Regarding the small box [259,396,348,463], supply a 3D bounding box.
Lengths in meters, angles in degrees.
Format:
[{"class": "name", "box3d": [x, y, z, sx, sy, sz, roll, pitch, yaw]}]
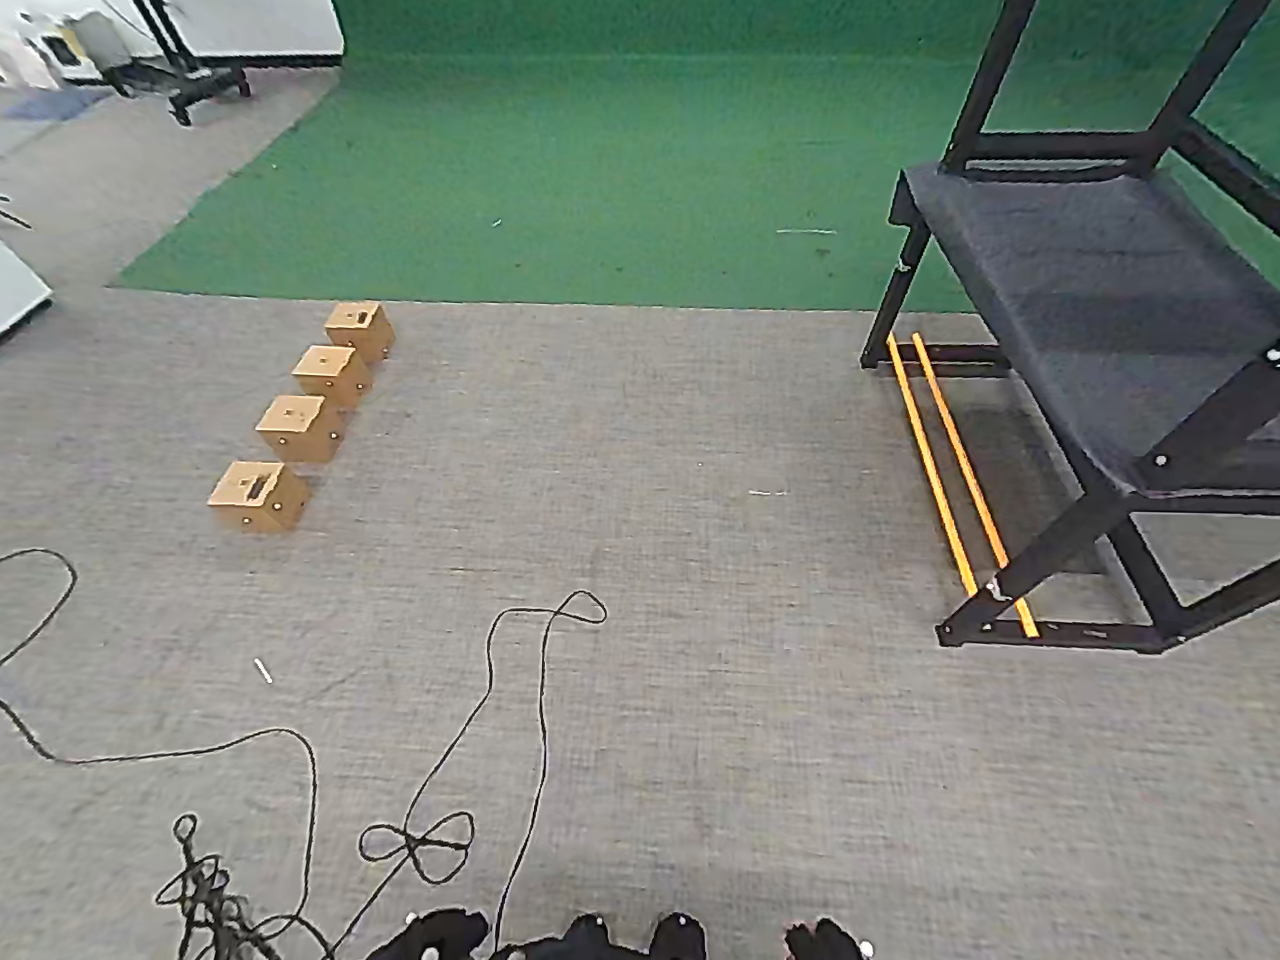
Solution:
[{"class": "small box", "box3d": [-1.169, -0.174, 1.892, 0.179, 0.176, 0.168, 2, 54, 3]}]

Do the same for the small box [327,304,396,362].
[{"class": "small box", "box3d": [-1.132, -0.599, 2.218, 0.179, 0.176, 0.168, 1, 53, 2]}]

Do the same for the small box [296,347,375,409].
[{"class": "small box", "box3d": [-1.151, -0.385, 2.057, 0.179, 0.176, 0.168, 4, 53, 4]}]
